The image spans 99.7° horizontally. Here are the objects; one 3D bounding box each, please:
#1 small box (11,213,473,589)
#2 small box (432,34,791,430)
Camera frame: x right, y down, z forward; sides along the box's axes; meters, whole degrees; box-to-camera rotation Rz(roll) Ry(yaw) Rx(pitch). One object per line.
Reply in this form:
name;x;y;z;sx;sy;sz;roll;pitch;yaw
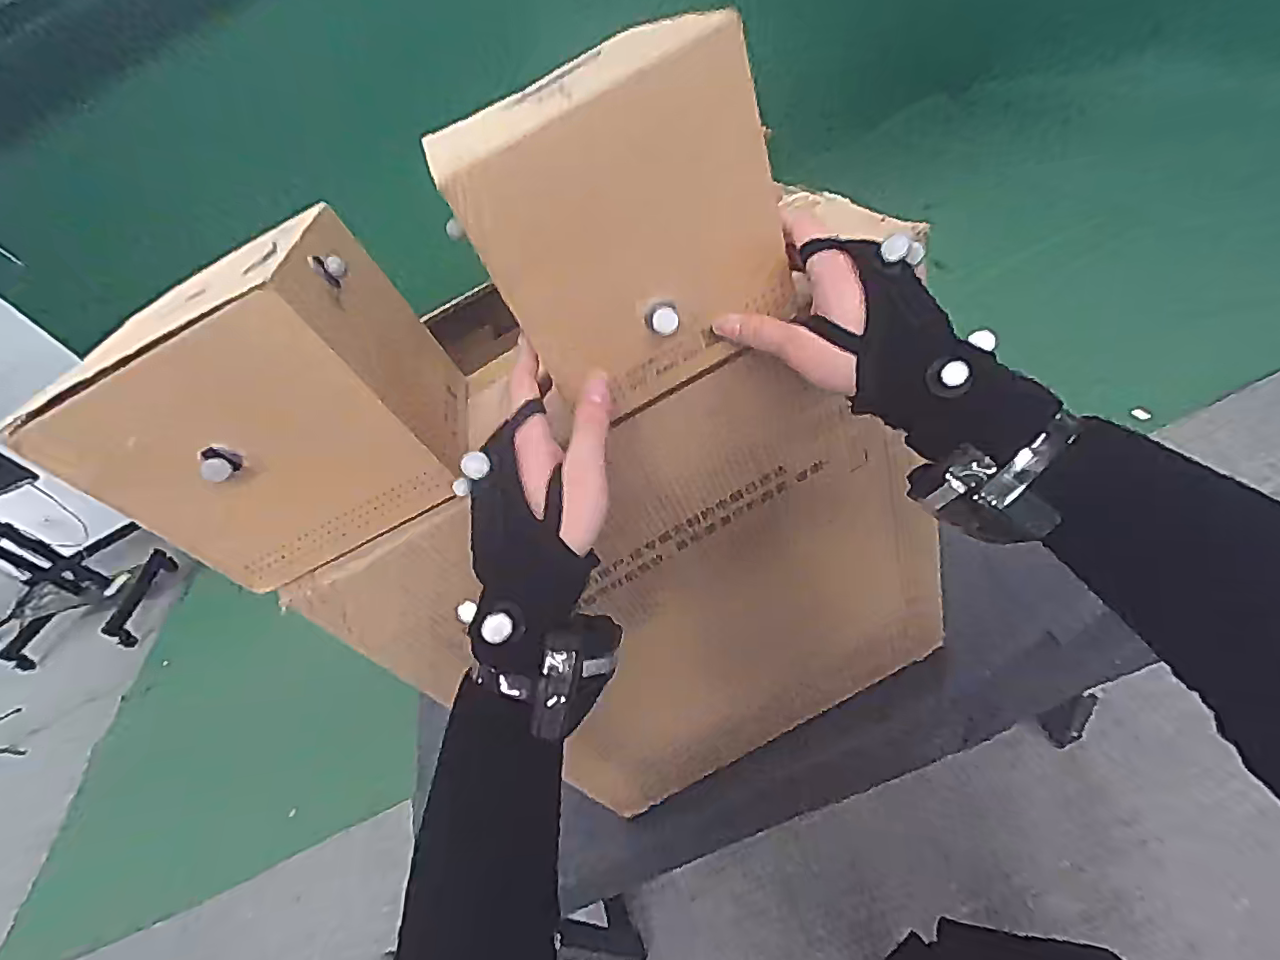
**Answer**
small box;-0.244;-0.051;0.389;0.179;0.176;0.168;-28;42;5
small box;-0.020;-0.166;0.372;0.168;0.176;0.179;-30;43;0
